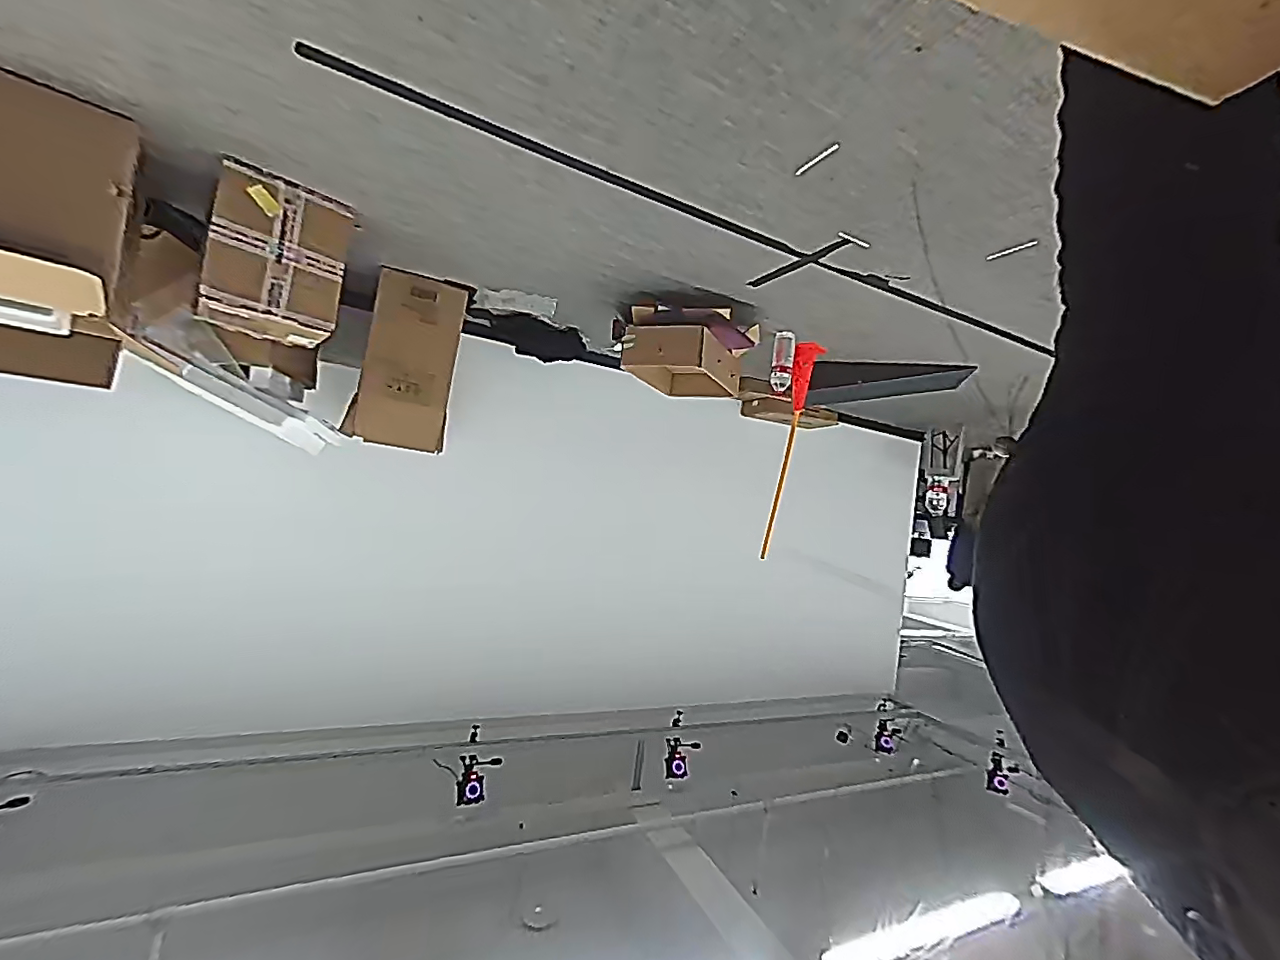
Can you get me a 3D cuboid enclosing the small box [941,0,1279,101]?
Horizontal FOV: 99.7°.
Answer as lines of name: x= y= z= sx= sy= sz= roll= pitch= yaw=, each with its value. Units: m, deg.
small box: x=0.168 y=-0.247 z=0.121 sx=0.168 sy=0.176 sz=0.179 roll=7 pitch=172 yaw=-15
